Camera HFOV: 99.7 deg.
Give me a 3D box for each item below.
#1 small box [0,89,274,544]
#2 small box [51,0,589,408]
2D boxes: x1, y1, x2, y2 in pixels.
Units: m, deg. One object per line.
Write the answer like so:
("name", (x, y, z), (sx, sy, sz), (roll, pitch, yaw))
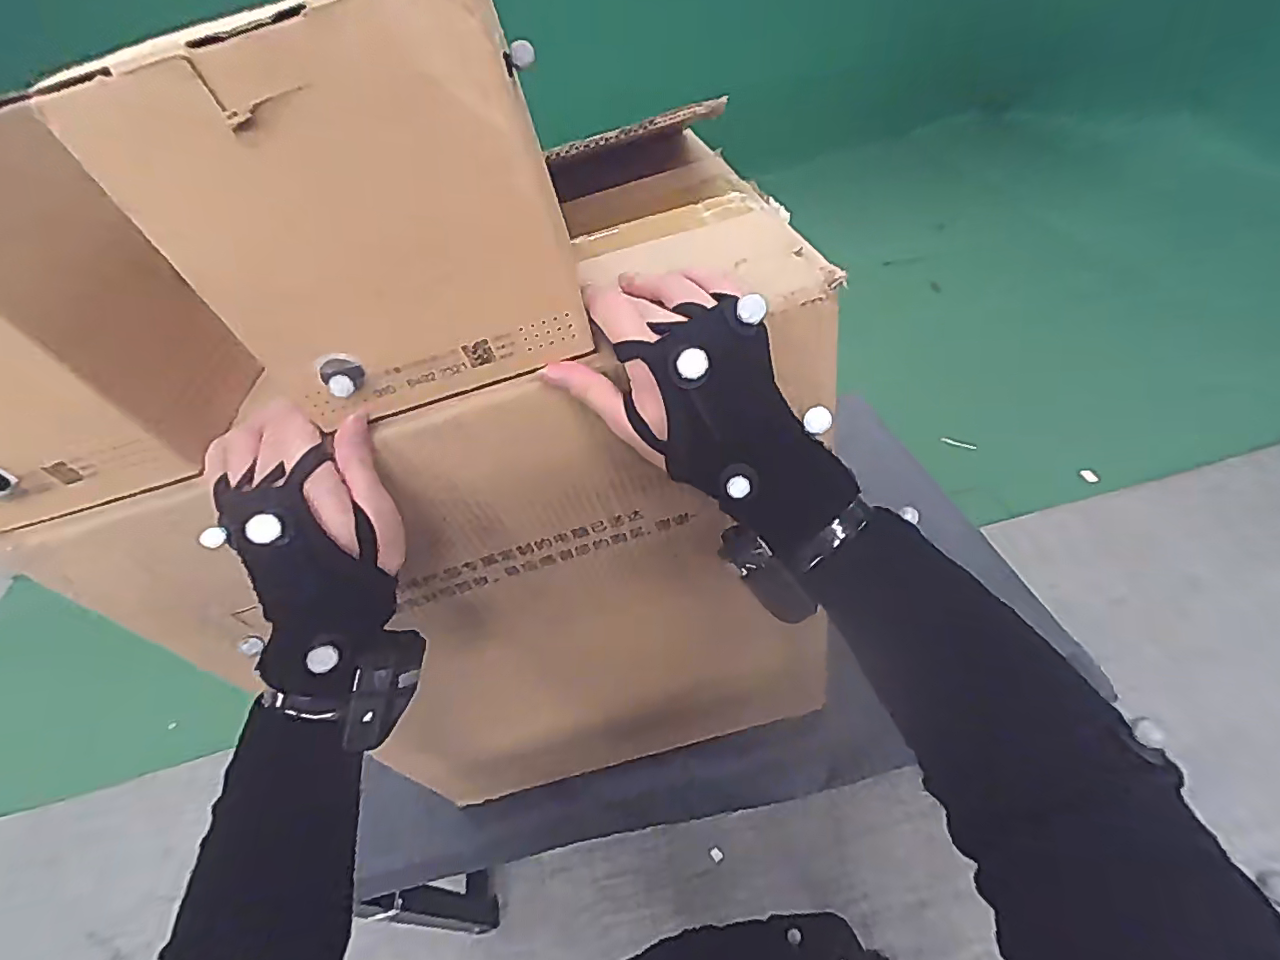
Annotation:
("small box", (-0.355, -0.091, 0.316), (0.168, 0.176, 0.179), (-18, 46, 4))
("small box", (-0.136, -0.161, 0.309), (0.168, 0.176, 0.179), (-17, 45, 0))
